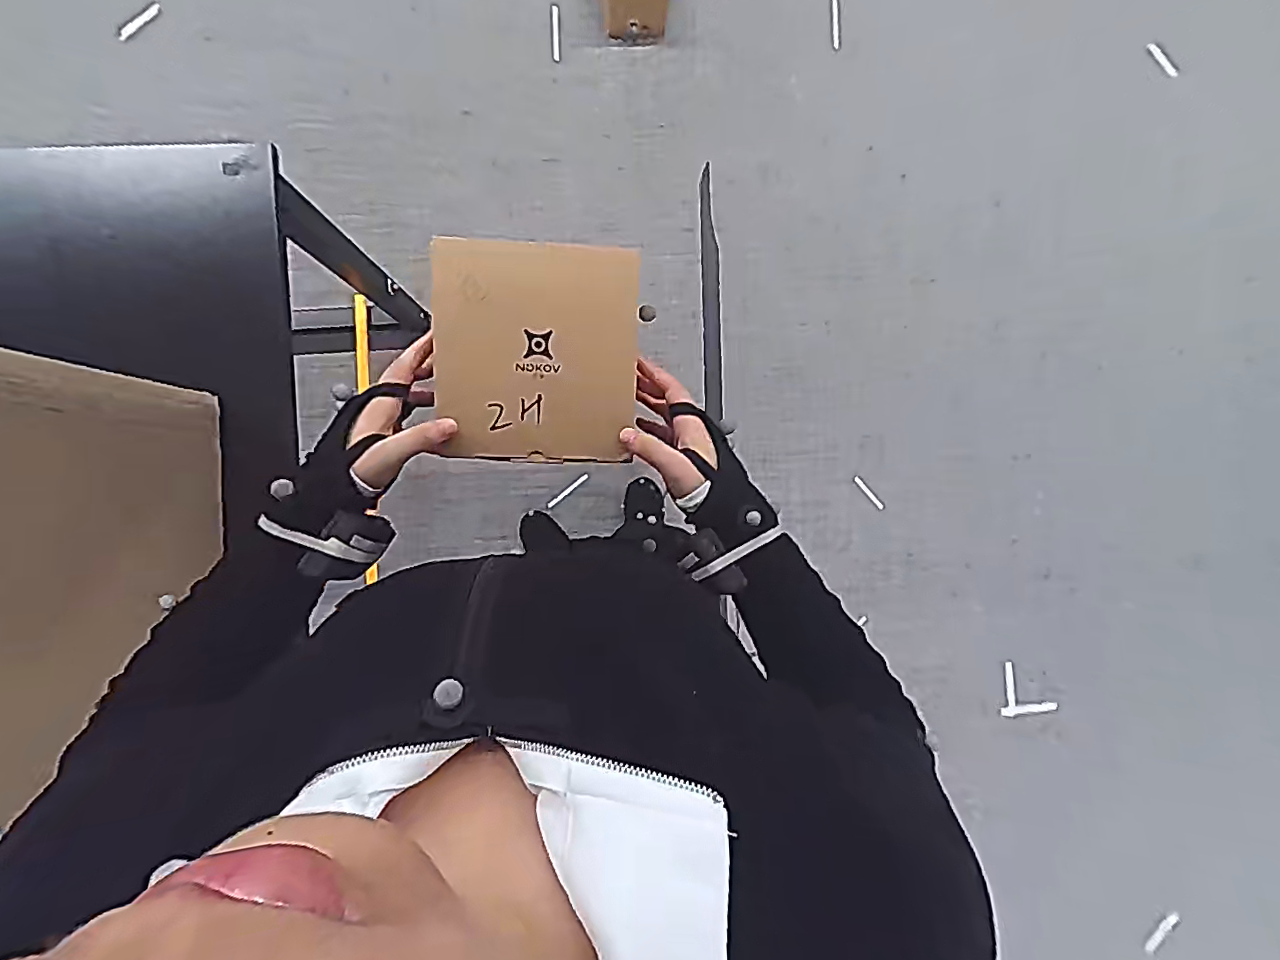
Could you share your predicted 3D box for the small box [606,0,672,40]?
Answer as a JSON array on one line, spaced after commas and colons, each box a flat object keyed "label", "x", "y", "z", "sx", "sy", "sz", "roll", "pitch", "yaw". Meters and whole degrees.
[{"label": "small box", "x": -0.008, "y": -1.322, "z": 1.432, "sx": 0.168, "sy": 0.176, "sz": 0.179, "roll": -6, "pitch": 91, "yaw": -3}]
